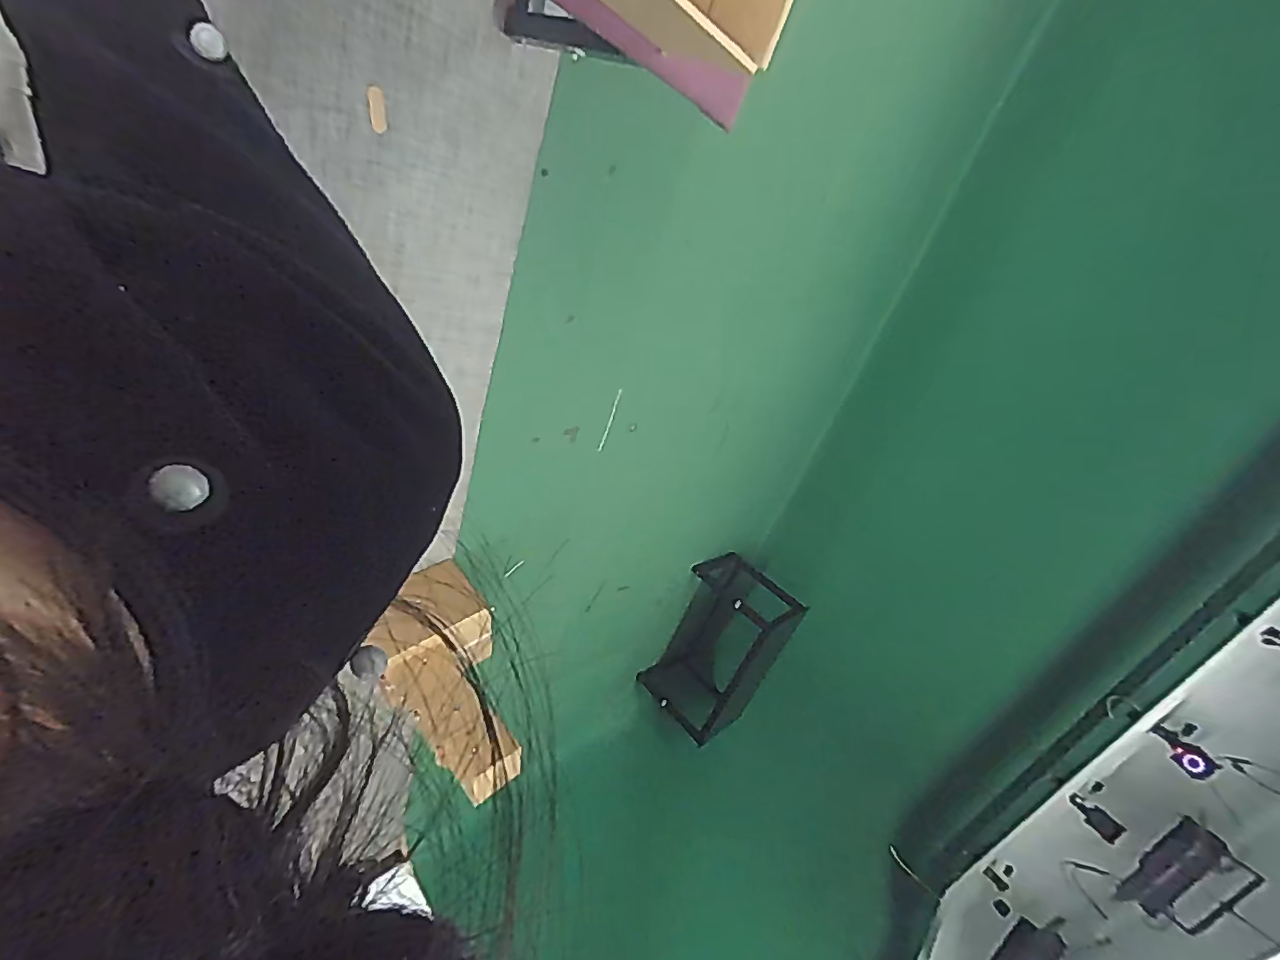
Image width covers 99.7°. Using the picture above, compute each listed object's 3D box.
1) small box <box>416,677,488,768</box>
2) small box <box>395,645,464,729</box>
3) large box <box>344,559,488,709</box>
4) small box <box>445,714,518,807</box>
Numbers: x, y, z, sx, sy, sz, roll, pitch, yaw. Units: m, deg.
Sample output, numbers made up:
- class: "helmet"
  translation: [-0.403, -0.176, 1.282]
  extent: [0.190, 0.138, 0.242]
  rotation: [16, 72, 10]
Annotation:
- class: "small box"
  translation: [-0.624, 0.799, 1.793]
  extent: [0.179, 0.176, 0.168]
  rotation: [-25, 139, -39]
- class: "small box"
  translation: [-0.736, 0.714, 1.879]
  extent: [0.179, 0.176, 0.168]
  rotation: [-20, 137, -41]
- class: "large box"
  translation: [-0.843, 0.572, 2.068]
  extent: [0.408, 0.320, 0.320]
  rotation: [-25, 141, -38]
- class: "small box"
  translation: [-0.505, 0.880, 1.716]
  extent: [0.168, 0.176, 0.179]
  rotation: [-23, 139, -39]
